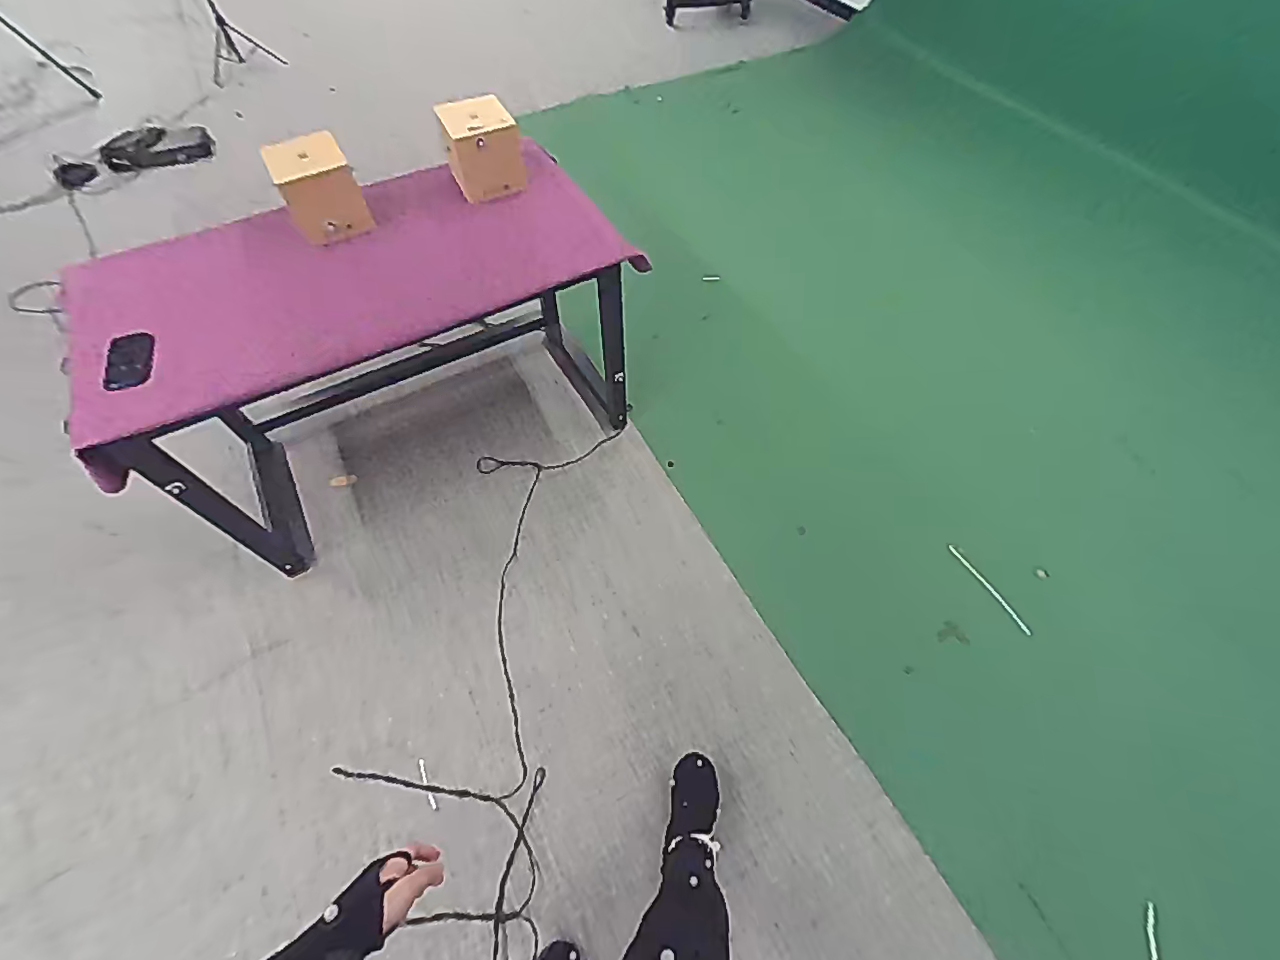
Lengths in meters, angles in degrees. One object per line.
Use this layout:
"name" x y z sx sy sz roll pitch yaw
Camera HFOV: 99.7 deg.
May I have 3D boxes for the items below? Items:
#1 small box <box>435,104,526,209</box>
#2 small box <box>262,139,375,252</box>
"small box" -0.419 -0.854 1.431 0.168 0.176 0.179 -24 60 -13
"small box" -0.786 -0.698 1.333 0.168 0.176 0.179 -27 62 -15
